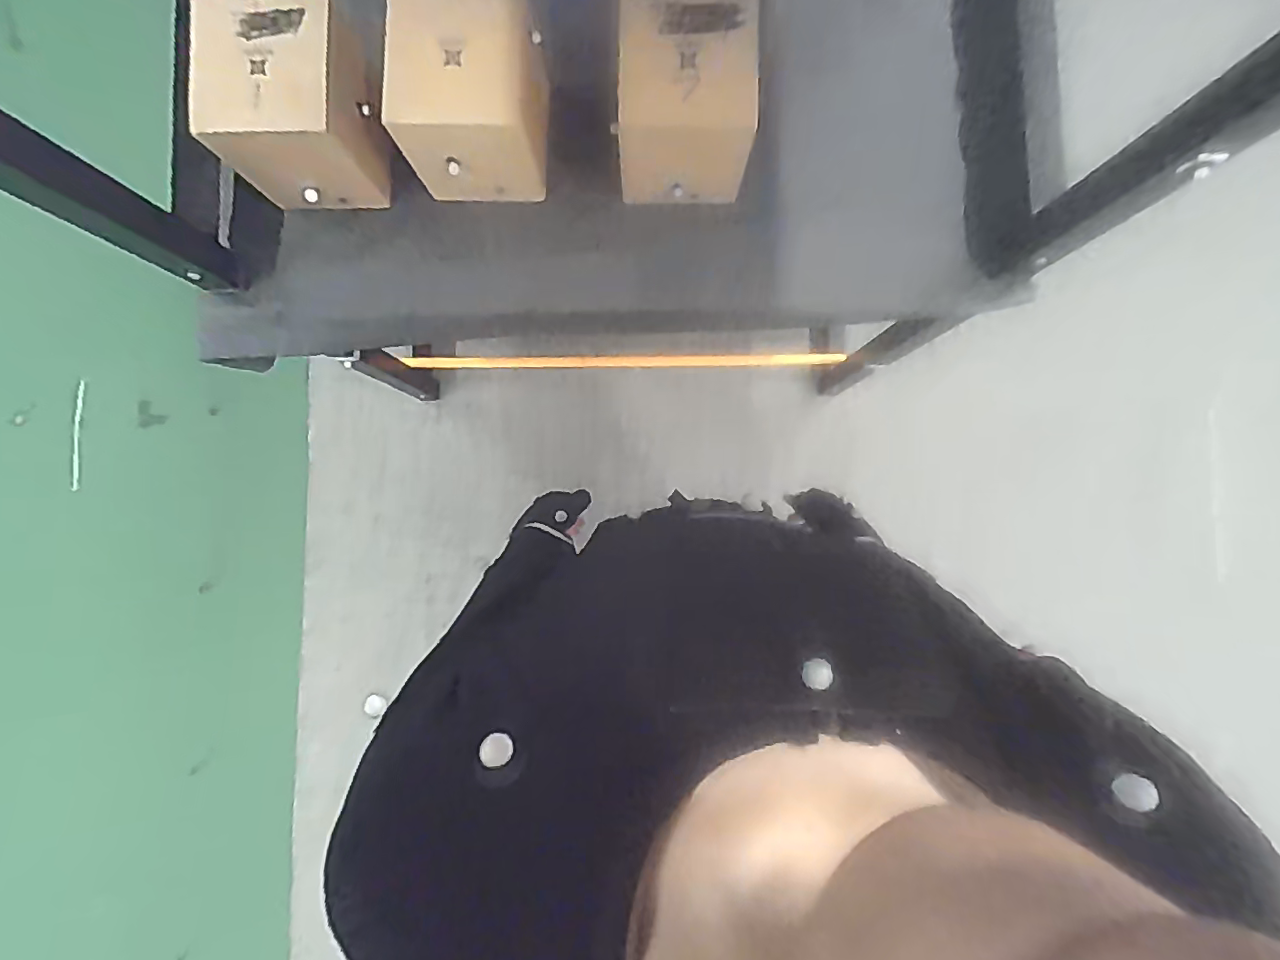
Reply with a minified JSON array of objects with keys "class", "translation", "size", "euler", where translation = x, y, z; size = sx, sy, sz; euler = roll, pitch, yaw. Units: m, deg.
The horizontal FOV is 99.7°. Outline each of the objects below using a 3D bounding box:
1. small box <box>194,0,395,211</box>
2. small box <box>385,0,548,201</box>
[{"class":"small box","translation":[-0.447,-0.492,0.726],"size":[0.168,0.176,0.179],"euler":[-1,87,0]},{"class":"small box","translation":[-0.220,-0.502,0.728],"size":[0.168,0.176,0.179],"euler":[1,86,0]}]
